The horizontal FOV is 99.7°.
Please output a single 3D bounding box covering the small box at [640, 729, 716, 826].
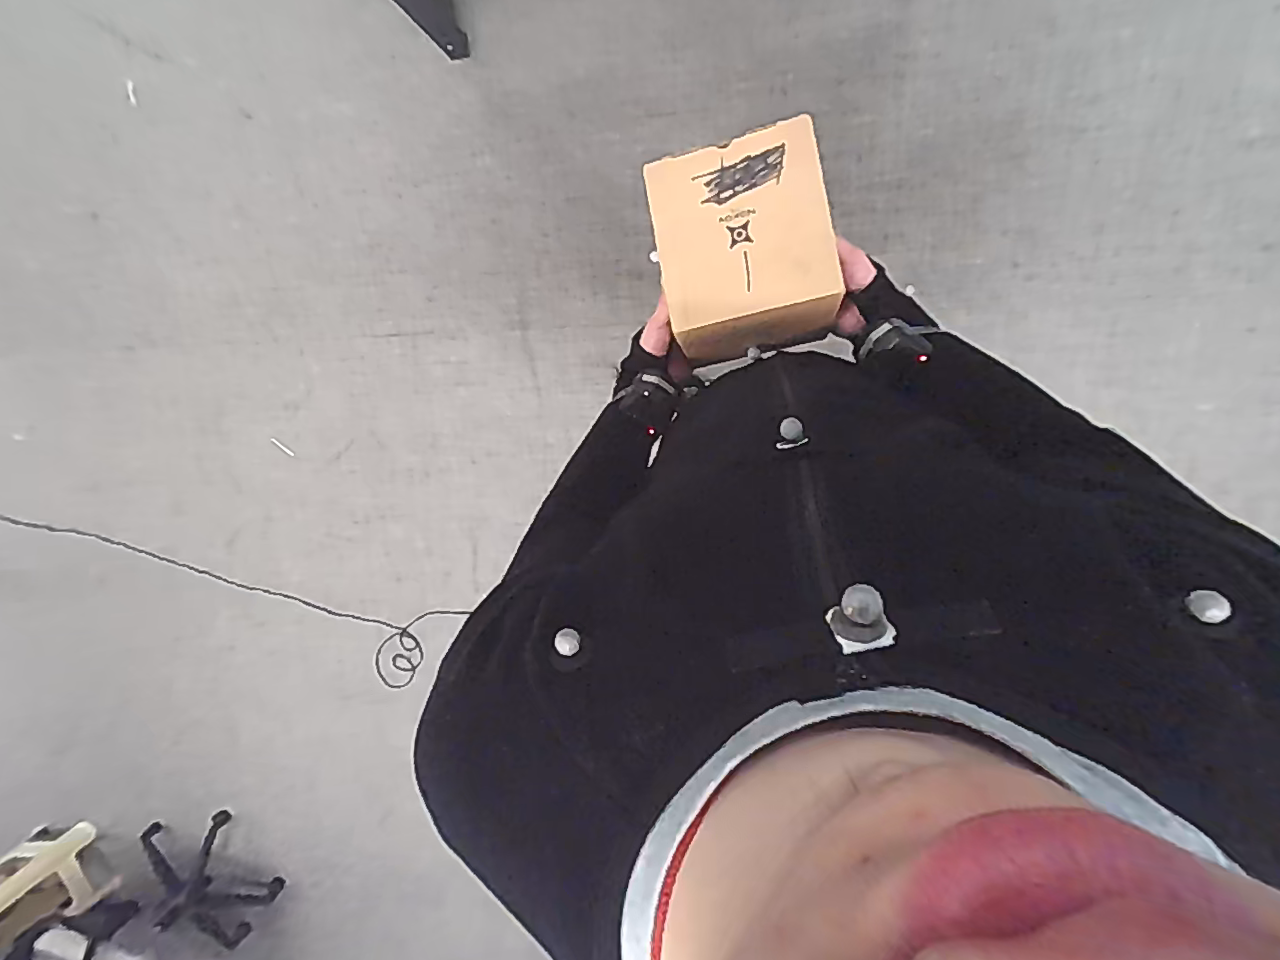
[{"bbox_3d":[0.124,0.933,1.711,0.168,0.176,0.179,41,107,-1],"label":"small box"}]
